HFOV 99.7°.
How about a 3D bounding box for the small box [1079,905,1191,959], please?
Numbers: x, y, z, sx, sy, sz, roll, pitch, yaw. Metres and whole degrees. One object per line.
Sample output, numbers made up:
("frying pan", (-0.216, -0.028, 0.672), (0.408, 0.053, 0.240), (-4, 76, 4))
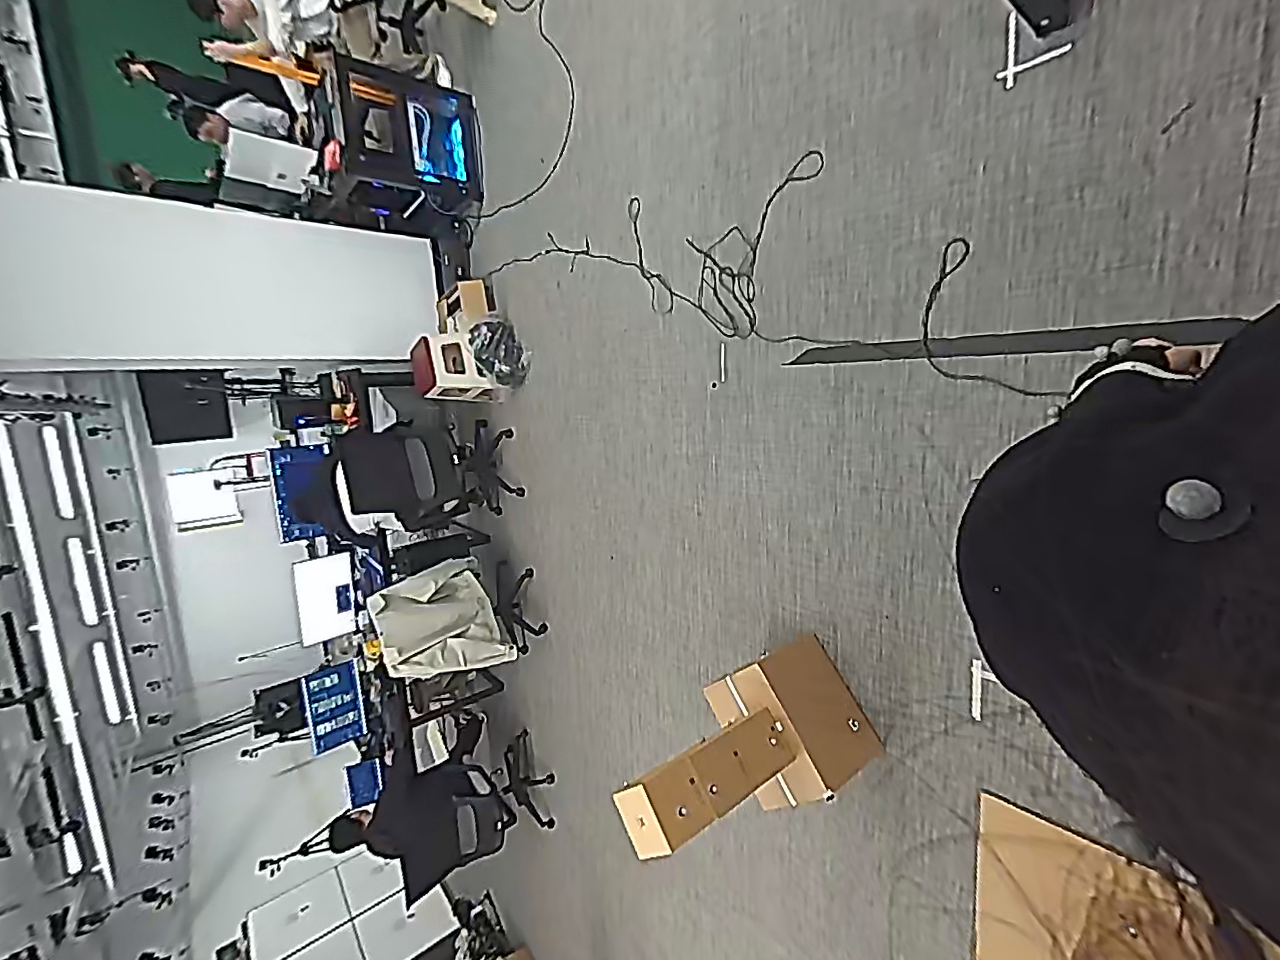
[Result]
("small box", (1.100, 1.111, 1.195), (0.168, 0.176, 0.179), (-5, 93, 50))

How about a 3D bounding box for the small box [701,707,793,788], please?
("small box", (0.322, 0.811, 1.621), (0.179, 0.176, 0.168), (-51, 59, 43))

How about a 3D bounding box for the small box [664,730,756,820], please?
("small box", (0.193, 0.835, 1.522), (0.168, 0.176, 0.179), (61, 139, 22))

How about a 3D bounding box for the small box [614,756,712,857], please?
("small box", (0.066, 0.853, 1.421), (0.168, 0.176, 0.179), (61, 138, 22))
